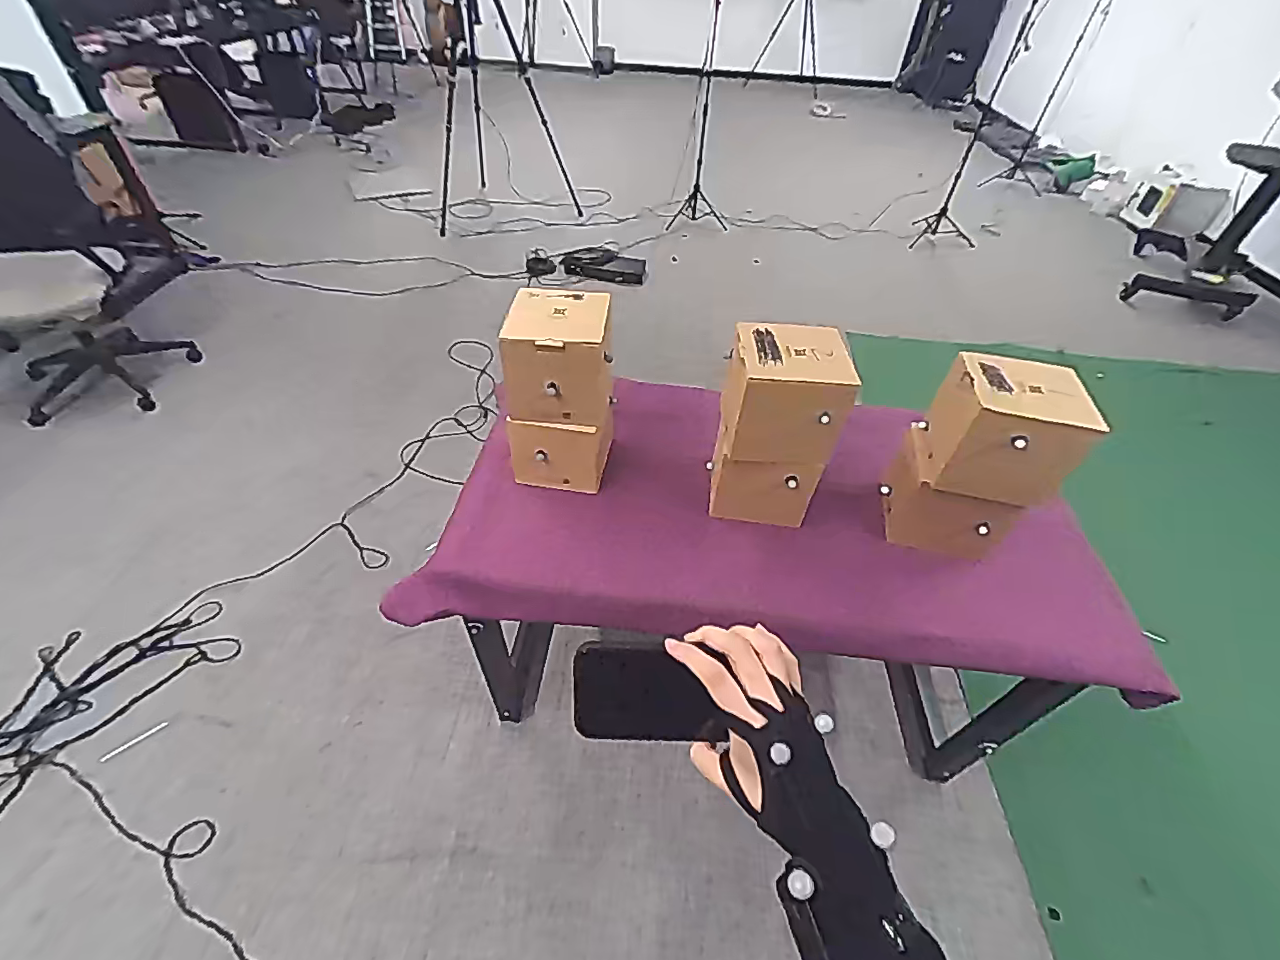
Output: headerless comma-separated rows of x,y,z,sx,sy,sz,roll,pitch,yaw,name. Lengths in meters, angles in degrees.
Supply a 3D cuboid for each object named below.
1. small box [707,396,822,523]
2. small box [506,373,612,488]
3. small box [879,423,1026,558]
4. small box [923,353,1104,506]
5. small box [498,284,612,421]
0.232,-0.036,1.035,0.179,0.176,0.168,8,46,4,small box
-0.150,-0.105,1.076,0.168,0.176,0.179,8,46,4,small box
0.566,0.023,1.005,0.179,0.176,0.168,13,46,8,small box
0.581,-0.079,0.876,0.179,0.176,0.168,13,46,7,small box
-0.141,-0.224,0.964,0.168,0.176,0.179,5,47,0,small box
